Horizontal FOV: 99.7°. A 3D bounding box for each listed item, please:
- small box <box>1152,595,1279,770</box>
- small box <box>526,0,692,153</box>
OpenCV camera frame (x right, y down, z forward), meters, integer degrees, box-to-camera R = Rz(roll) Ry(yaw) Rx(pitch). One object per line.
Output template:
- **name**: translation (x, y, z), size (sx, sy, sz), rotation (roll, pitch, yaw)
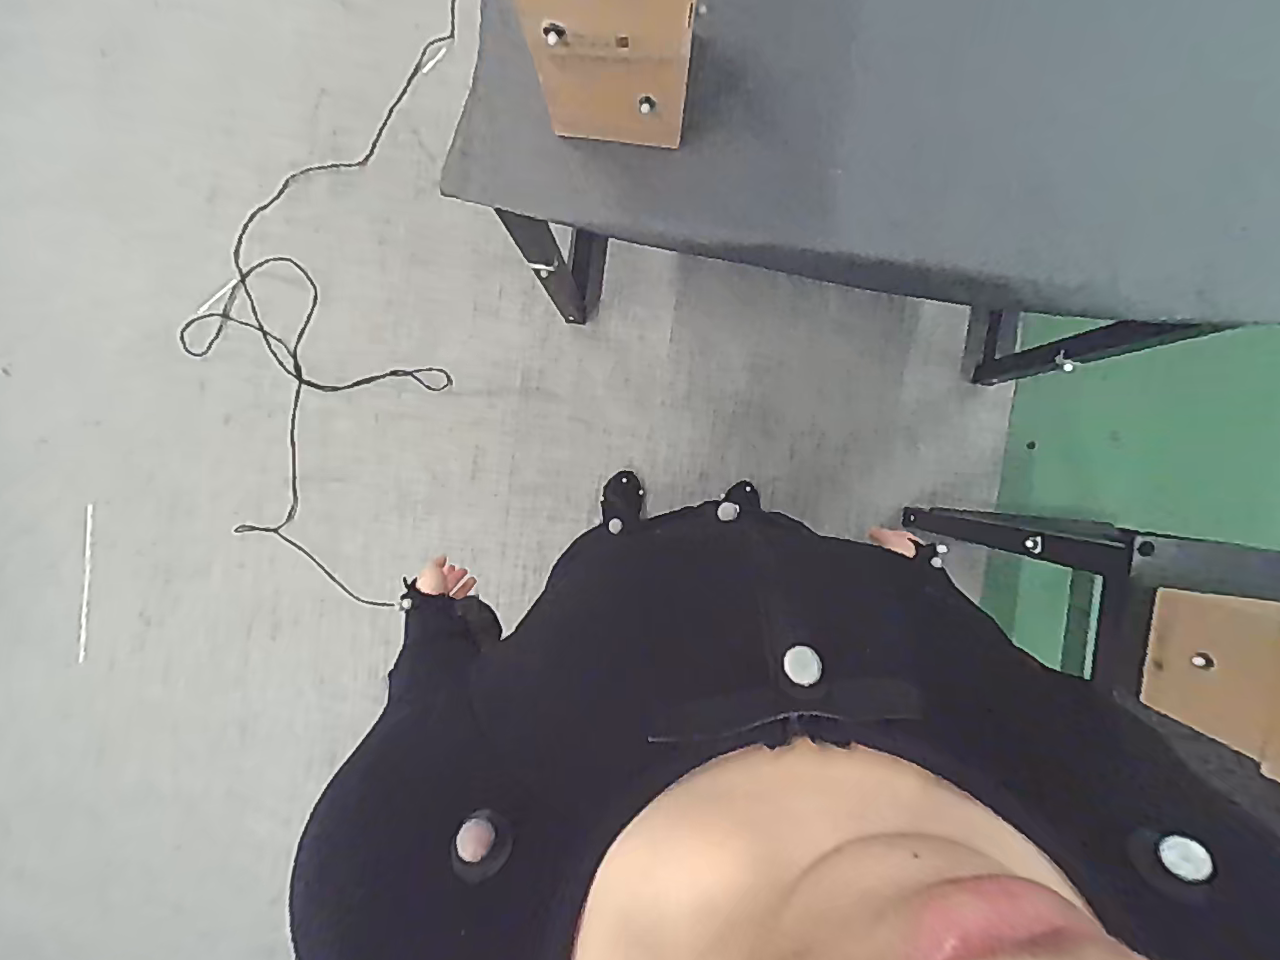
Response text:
- **small box**: translation (0.791, 0.246, 0.660), size (0.179, 0.176, 0.168), rotation (7, 93, 2)
- **small box**: translation (-0.029, -0.540, 0.673), size (0.179, 0.176, 0.168), rotation (6, 89, 3)
